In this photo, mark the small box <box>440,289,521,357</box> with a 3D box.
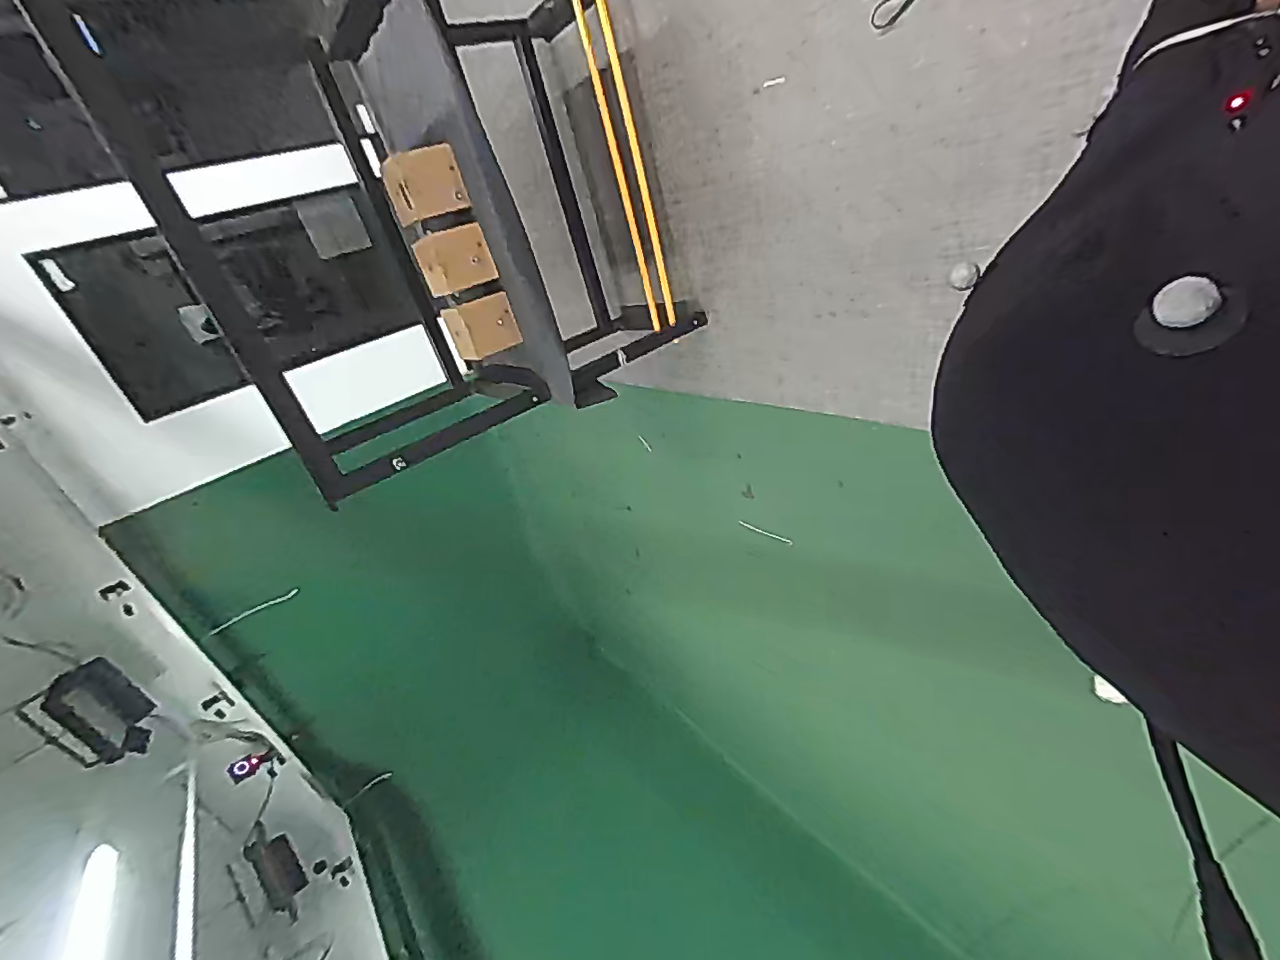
[{"bbox_3d":[-0.514,-0.507,1.752,0.179,0.176,0.168,17,132,51],"label":"small box"}]
